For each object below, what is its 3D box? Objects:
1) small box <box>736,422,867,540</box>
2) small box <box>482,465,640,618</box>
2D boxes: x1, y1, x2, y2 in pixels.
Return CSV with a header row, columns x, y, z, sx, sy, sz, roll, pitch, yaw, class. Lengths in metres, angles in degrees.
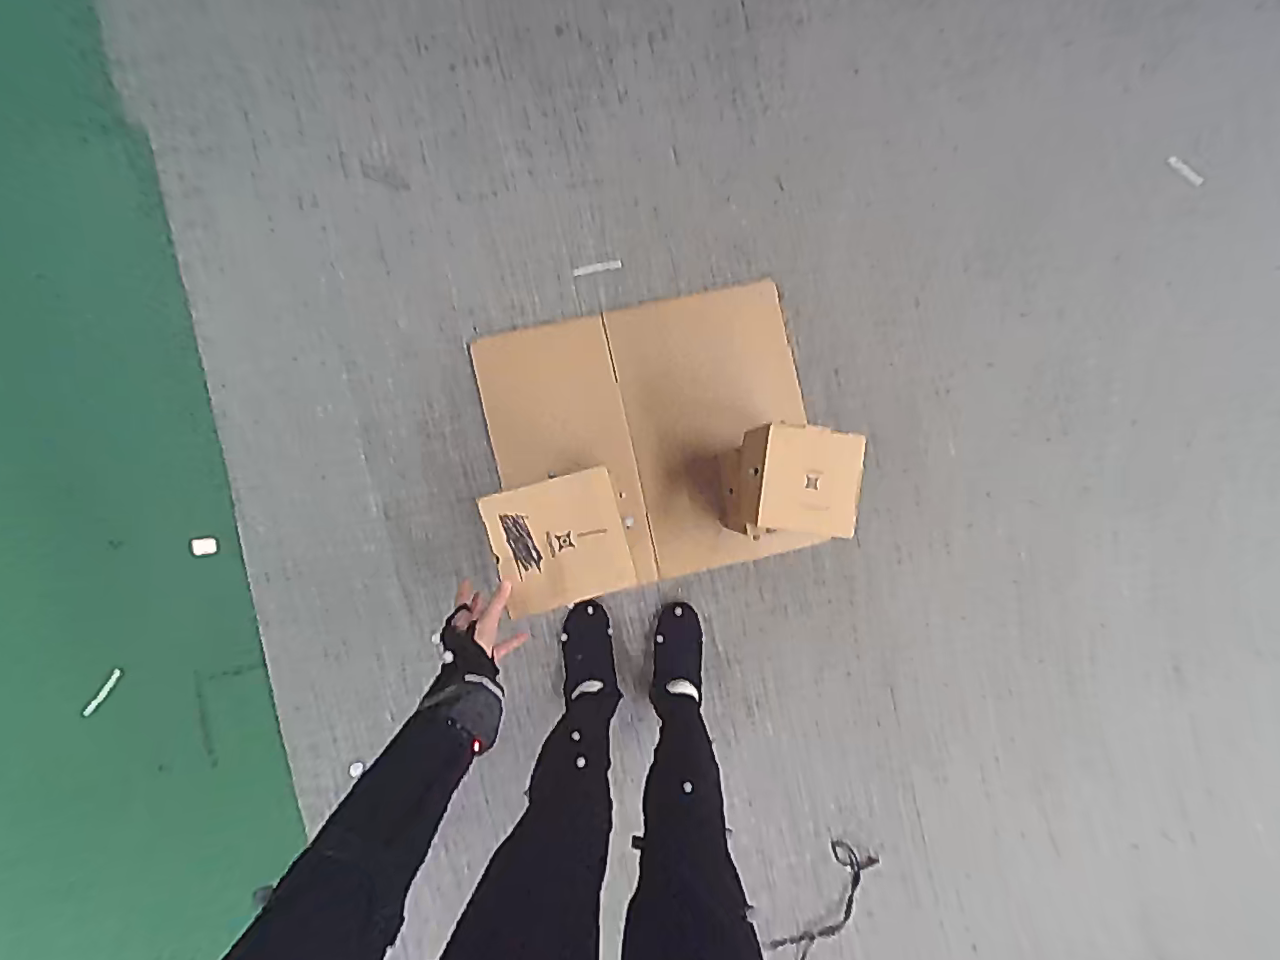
x,y,z,sx,sy,sz,roll,pitch,yaw,class
0.278,0.003,0.963,0.168,0.176,0.179,8,89,-4,small box
-0.105,0.082,0.779,0.179,0.176,0.168,-15,90,-4,small box
